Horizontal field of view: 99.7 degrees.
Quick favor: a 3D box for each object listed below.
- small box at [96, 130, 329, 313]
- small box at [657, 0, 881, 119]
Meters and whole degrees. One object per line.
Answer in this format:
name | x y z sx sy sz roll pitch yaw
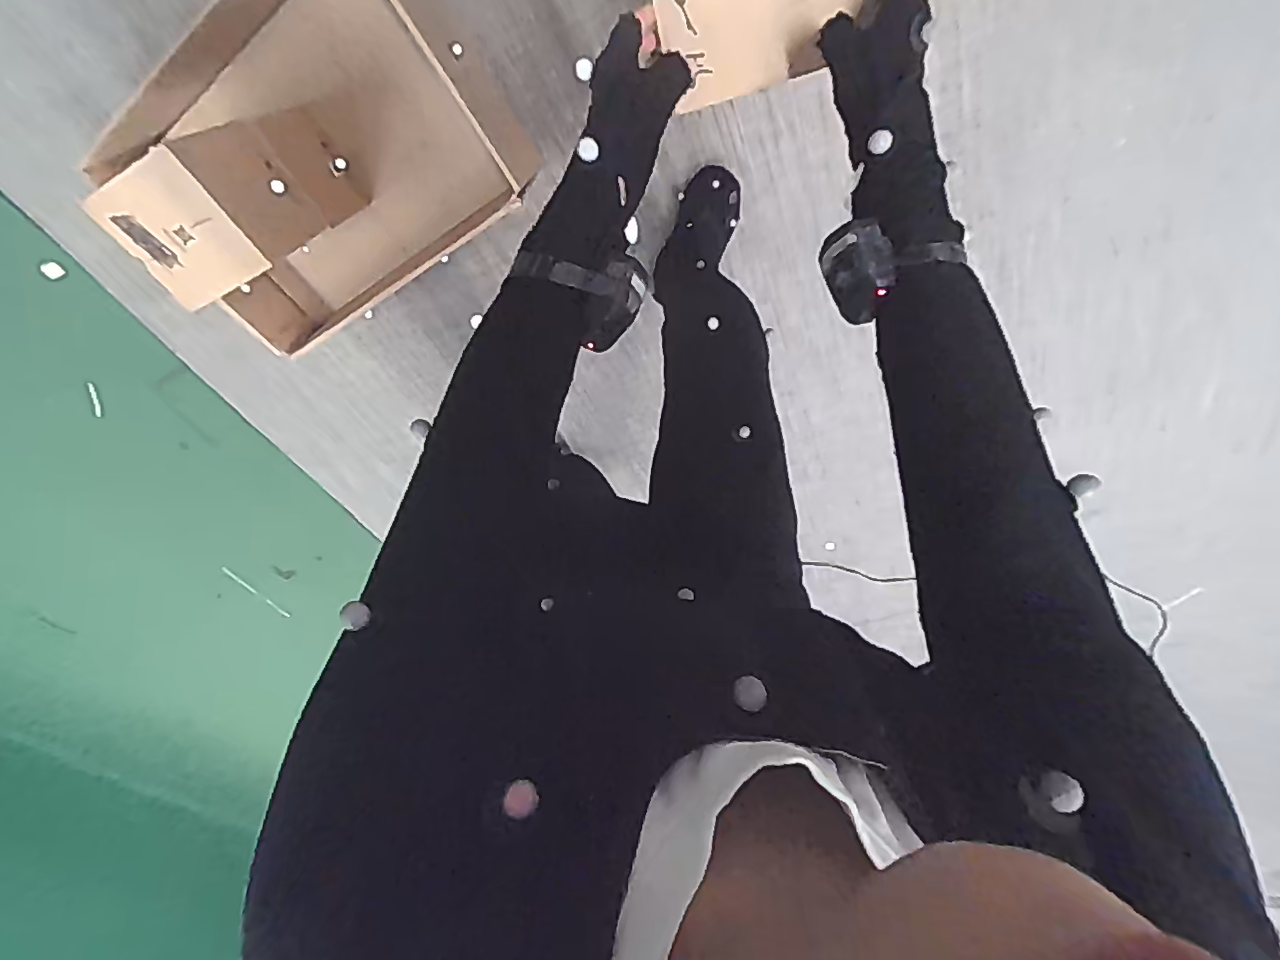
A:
small box | -0.609 -0.381 0.797 0.179 0.176 0.168 -18 129 17
small box | 0.104 -0.453 0.483 0.179 0.176 0.168 -9 129 14
